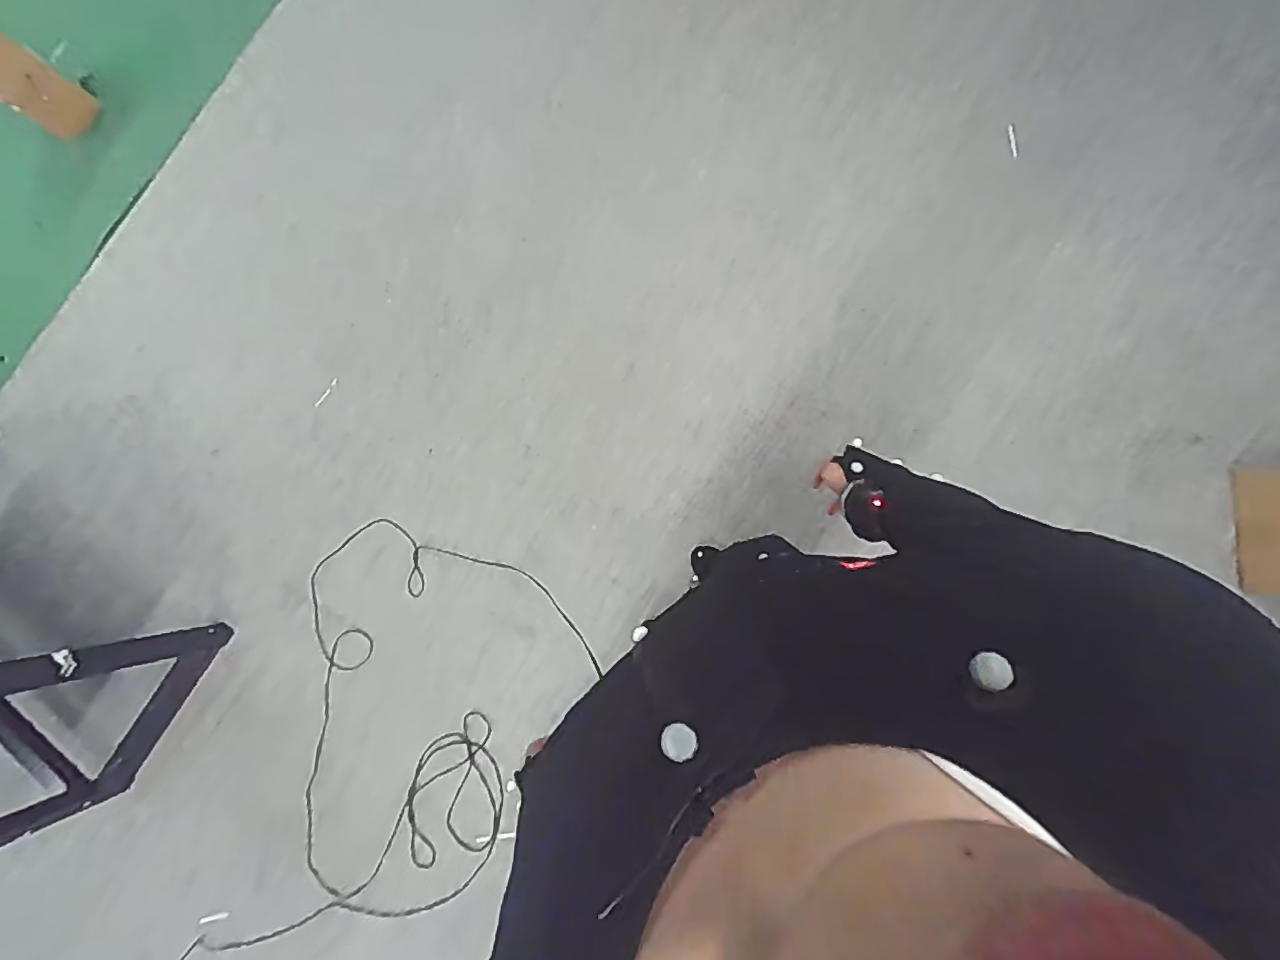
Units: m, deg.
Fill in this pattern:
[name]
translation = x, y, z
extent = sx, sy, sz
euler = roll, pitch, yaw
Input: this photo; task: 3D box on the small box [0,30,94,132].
[small box]
translation = -1.989, -1.319, 1.797
extent = 0.168, 0.176, 0.179
euler = 38, 90, 8
